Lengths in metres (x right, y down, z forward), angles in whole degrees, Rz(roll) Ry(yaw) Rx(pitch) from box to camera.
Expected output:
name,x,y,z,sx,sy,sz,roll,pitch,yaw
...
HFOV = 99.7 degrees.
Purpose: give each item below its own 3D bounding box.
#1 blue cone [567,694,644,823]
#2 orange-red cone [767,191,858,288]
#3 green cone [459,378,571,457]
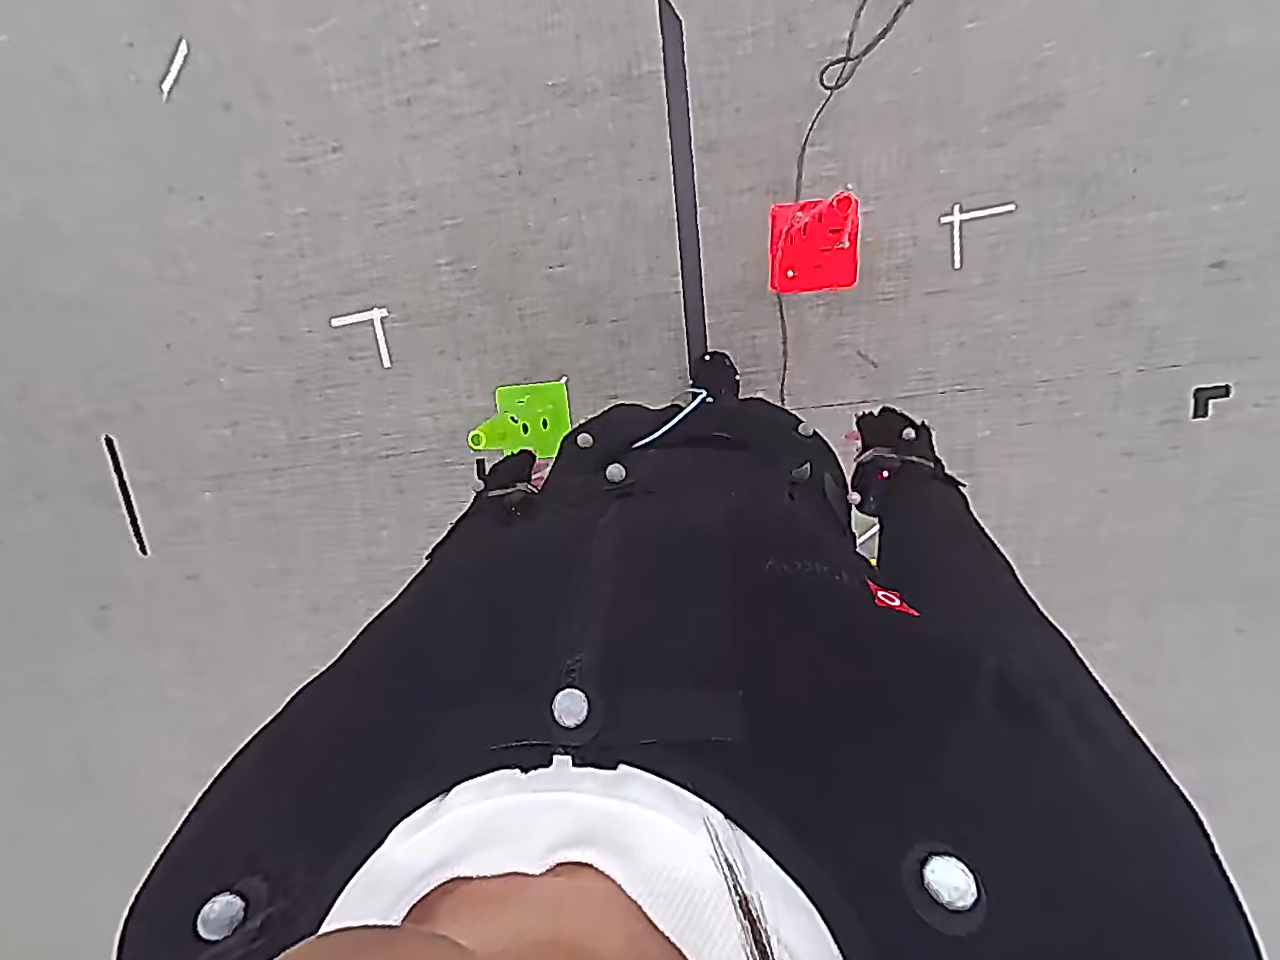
name,x,y,z,sx,sy,sz,roll,pitch,yaw
blue cone,-0.111,0.751,1.438,0.192,0.380,0.193,0,101,10
orange-red cone,0.377,-0.515,1.092,0.199,0.360,0.198,0,103,8
green cone,-0.317,-0.131,1.278,0.202,0.368,0.200,-4,101,11
